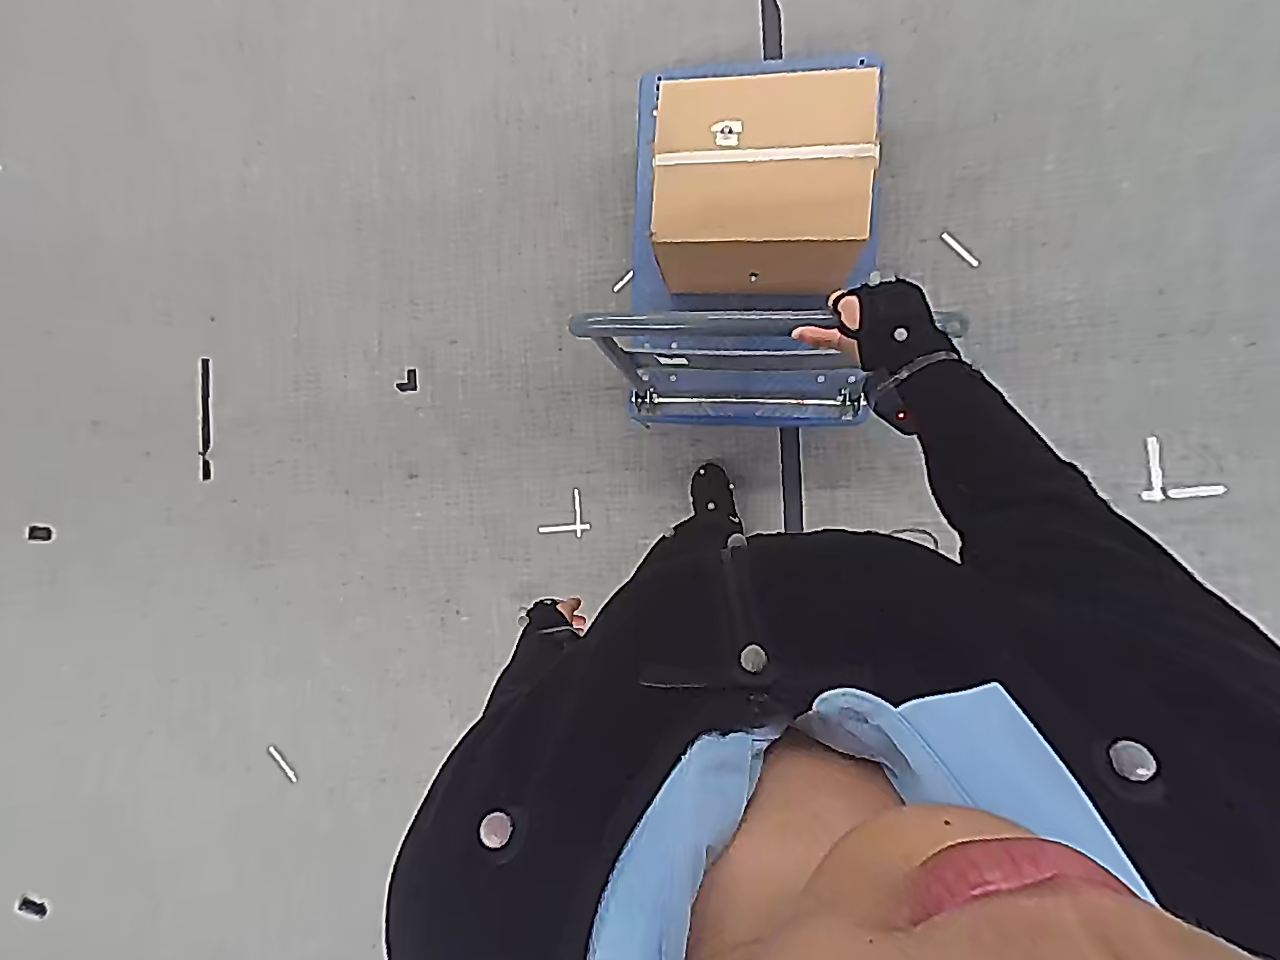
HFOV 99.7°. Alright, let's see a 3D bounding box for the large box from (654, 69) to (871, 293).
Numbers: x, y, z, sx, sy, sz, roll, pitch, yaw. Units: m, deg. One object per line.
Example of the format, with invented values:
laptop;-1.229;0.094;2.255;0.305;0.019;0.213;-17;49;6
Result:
large box;0.257;-0.611;1.176;0.408;0.320;0.320;3;90;11
